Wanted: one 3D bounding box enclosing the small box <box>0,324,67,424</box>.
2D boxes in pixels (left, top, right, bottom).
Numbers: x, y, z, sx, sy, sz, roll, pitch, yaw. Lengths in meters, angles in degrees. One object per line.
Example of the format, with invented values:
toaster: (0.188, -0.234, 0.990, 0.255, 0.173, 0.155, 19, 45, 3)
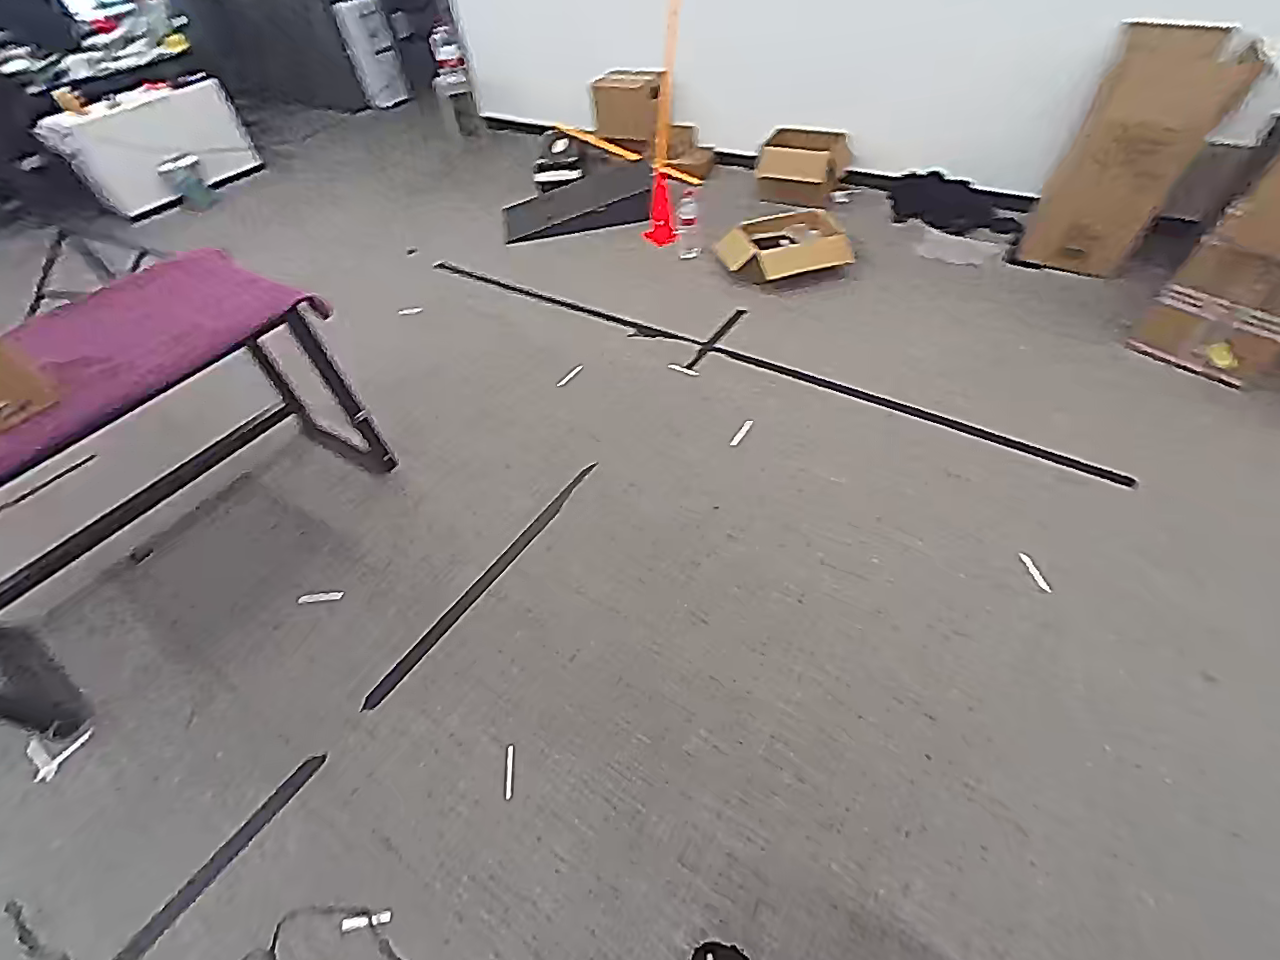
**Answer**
small box: (-1.468, -0.249, 1.212, 0.179, 0.176, 0.168, 27, 58, 25)
